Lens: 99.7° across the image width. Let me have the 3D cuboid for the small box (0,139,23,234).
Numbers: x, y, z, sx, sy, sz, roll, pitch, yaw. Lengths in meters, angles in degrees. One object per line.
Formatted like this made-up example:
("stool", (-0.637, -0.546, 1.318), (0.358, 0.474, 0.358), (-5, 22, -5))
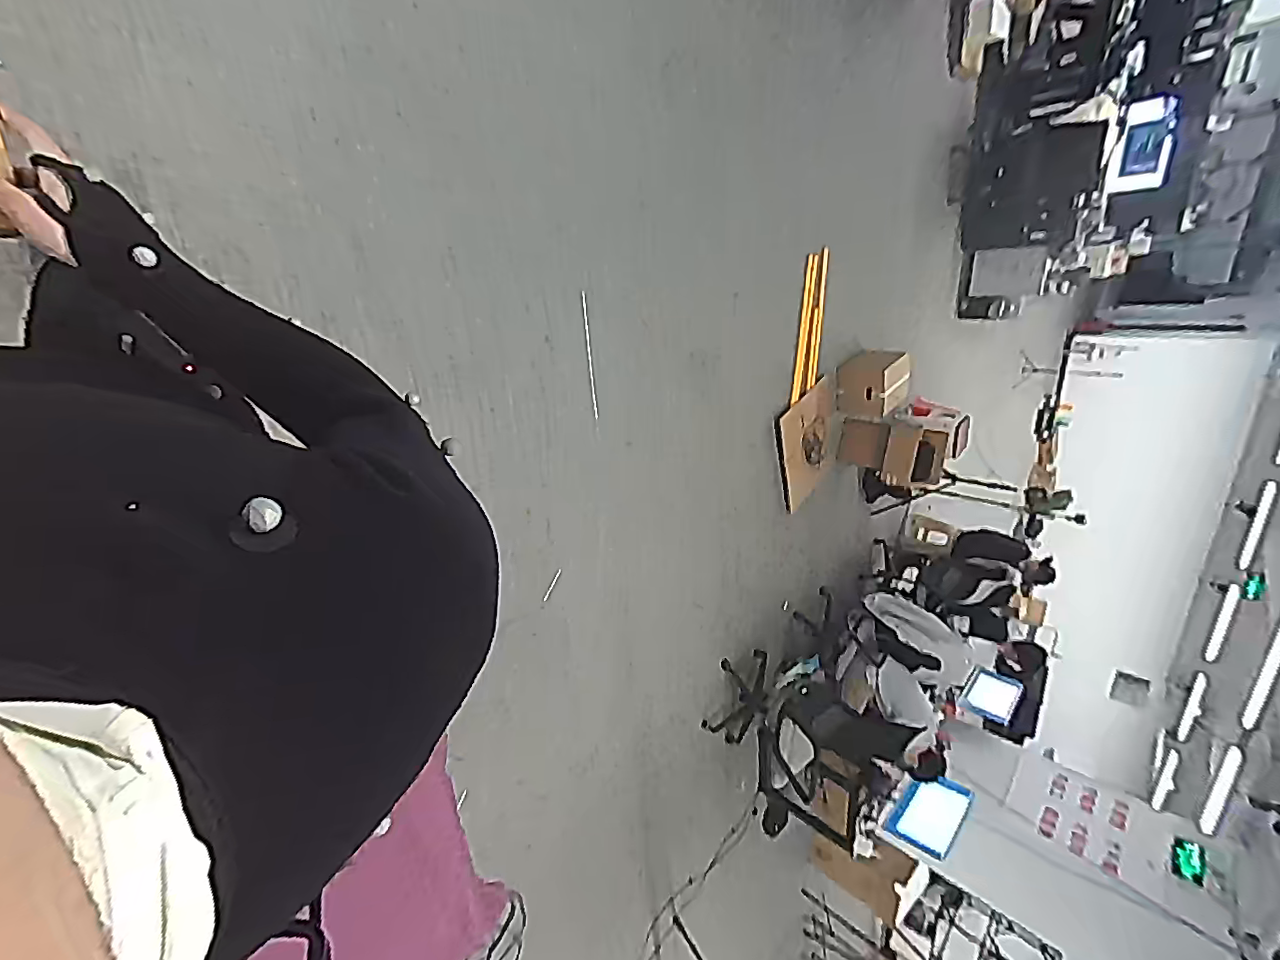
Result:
("small box", (-0.637, -0.300, 0.430), (0.168, 0.176, 0.179), (-18, 115, -44))
